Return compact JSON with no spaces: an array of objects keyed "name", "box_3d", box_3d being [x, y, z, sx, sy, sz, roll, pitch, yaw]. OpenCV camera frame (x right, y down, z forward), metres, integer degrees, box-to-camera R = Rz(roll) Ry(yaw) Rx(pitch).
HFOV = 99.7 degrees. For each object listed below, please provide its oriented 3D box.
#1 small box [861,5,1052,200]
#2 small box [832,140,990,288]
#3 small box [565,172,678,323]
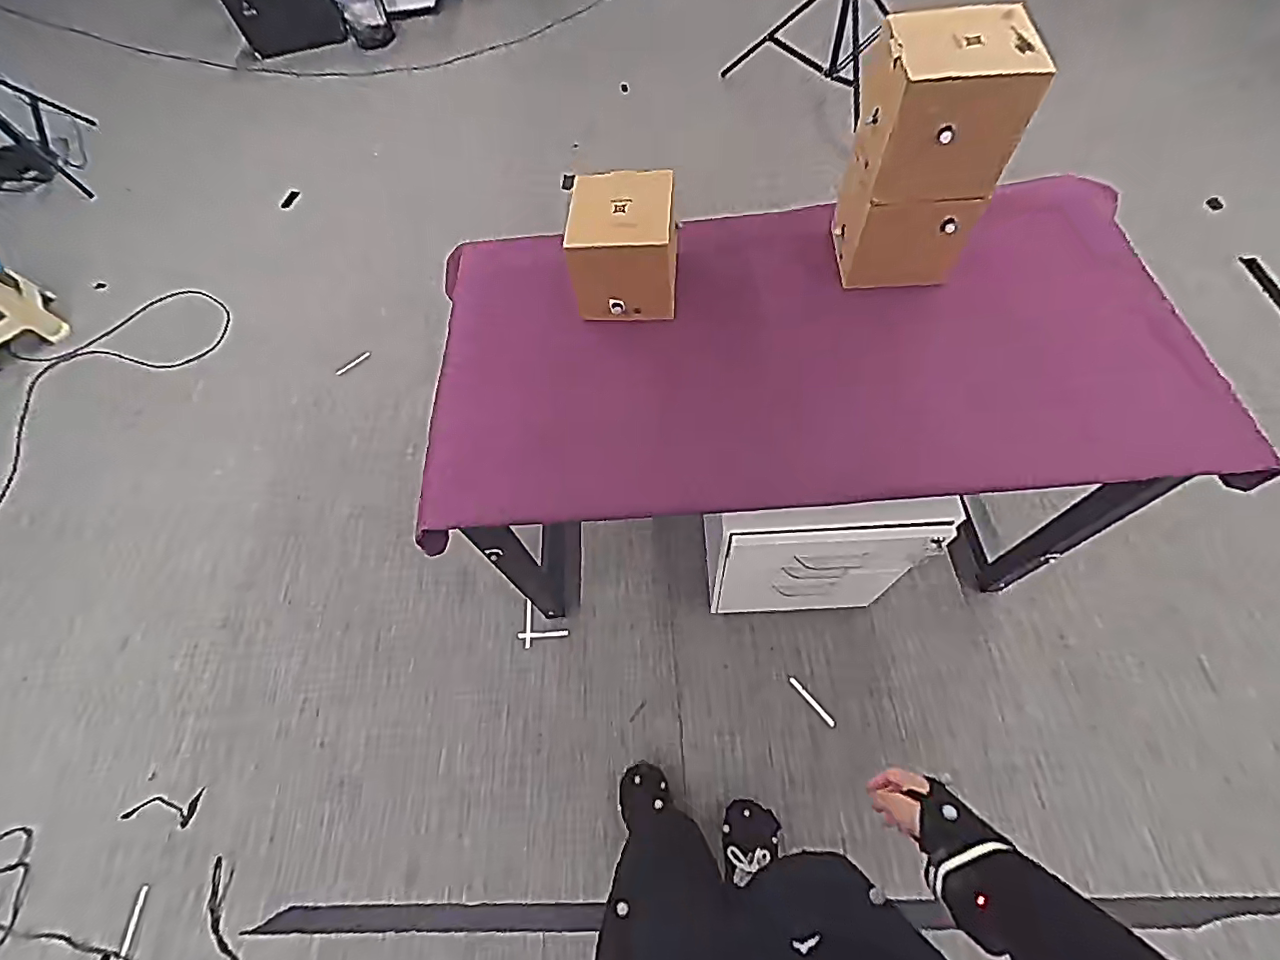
[{"name":"small box","box_3d":[0.423,-0.521,0.764,0.179,0.176,0.168,0,63,7]},{"name":"small box","box_3d":[0.439,-0.445,0.908,0.179,0.176,0.168,-1,63,6]},{"name":"small box","box_3d":[-0.022,-0.393,0.929,0.168,0.176,0.179,0,64,7]}]
